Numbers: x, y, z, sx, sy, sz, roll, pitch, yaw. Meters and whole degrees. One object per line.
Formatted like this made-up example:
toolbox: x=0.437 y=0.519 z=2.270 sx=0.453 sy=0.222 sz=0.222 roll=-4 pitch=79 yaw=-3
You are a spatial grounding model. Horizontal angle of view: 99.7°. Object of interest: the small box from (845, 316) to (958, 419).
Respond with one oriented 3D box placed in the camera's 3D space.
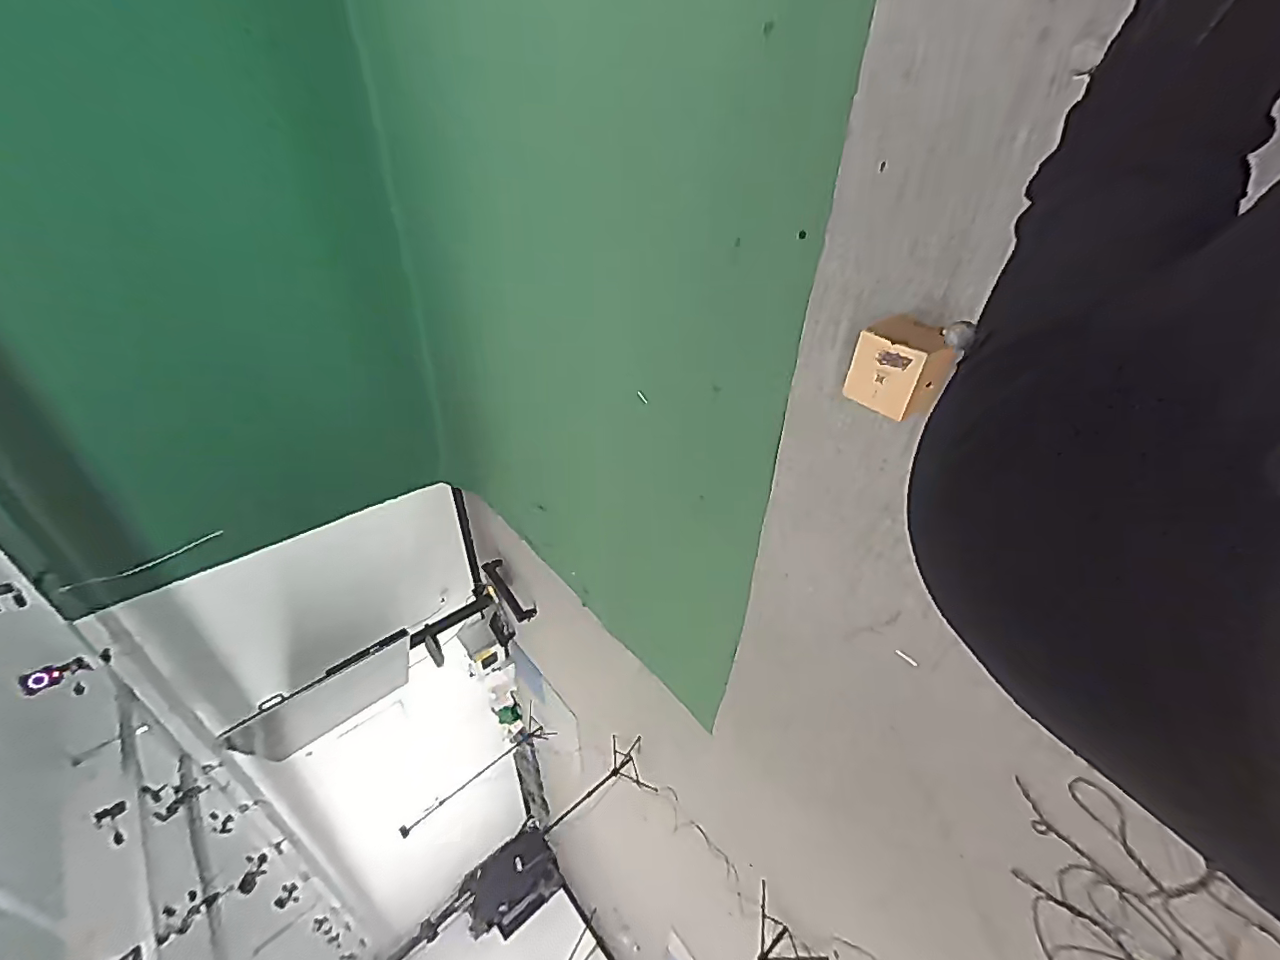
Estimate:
small box: x=0.634 y=-0.280 z=1.310 sx=0.168 sy=0.176 sz=0.179 roll=38 pitch=140 yaw=35
